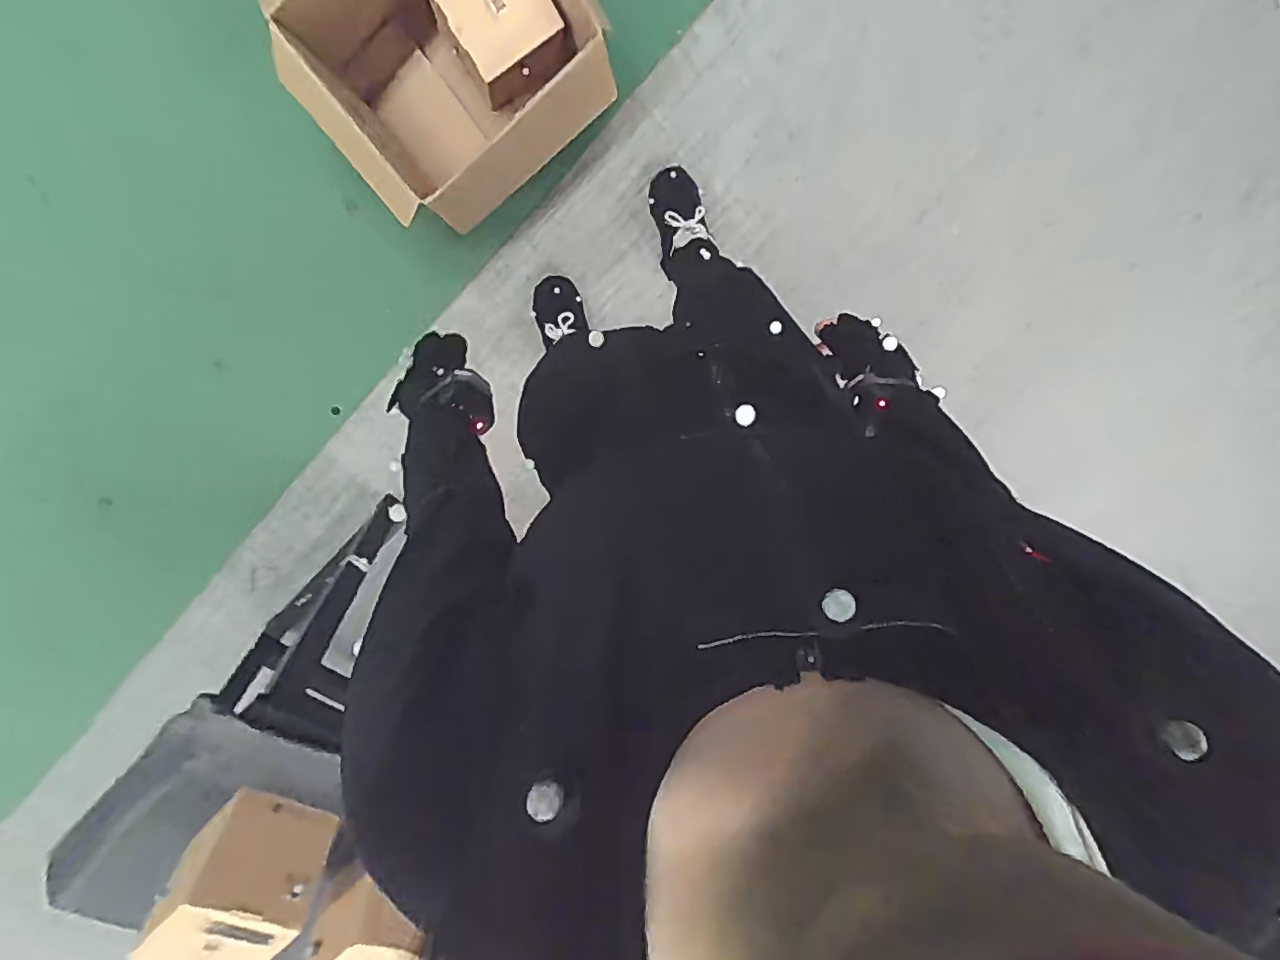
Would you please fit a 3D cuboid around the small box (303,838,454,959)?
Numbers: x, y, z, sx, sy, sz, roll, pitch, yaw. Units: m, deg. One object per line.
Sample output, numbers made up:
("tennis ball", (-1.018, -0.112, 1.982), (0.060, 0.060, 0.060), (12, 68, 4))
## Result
("small box", (-0.445, 0.767, 0.930), (0.179, 0.176, 0.168), (-44, 114, 12))
